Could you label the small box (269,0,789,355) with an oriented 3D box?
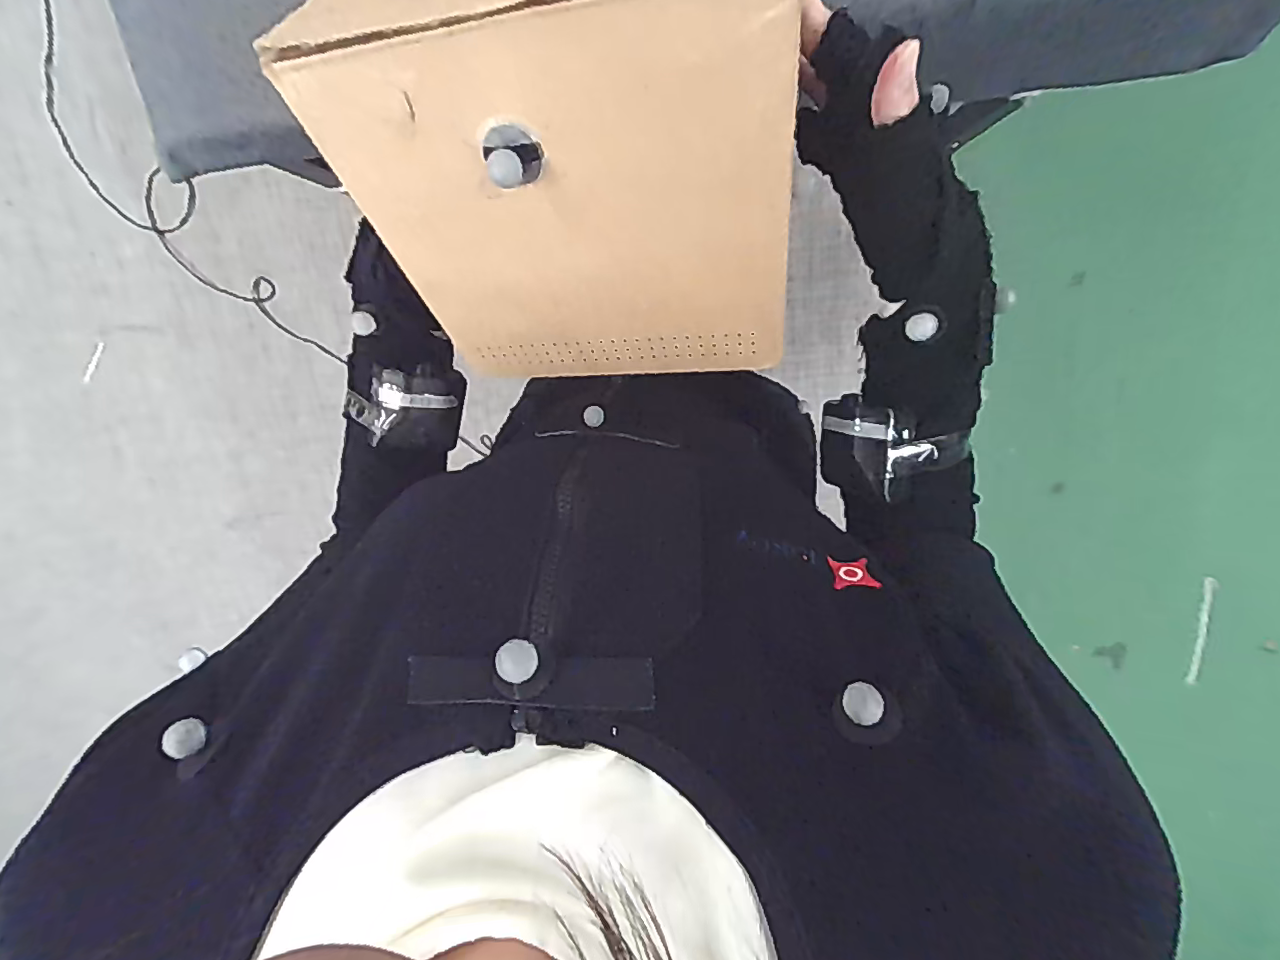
[{"bbox_3d":[-0.019,-0.178,0.271,0.179,0.176,0.168,2,61,12],"label":"small box"}]
